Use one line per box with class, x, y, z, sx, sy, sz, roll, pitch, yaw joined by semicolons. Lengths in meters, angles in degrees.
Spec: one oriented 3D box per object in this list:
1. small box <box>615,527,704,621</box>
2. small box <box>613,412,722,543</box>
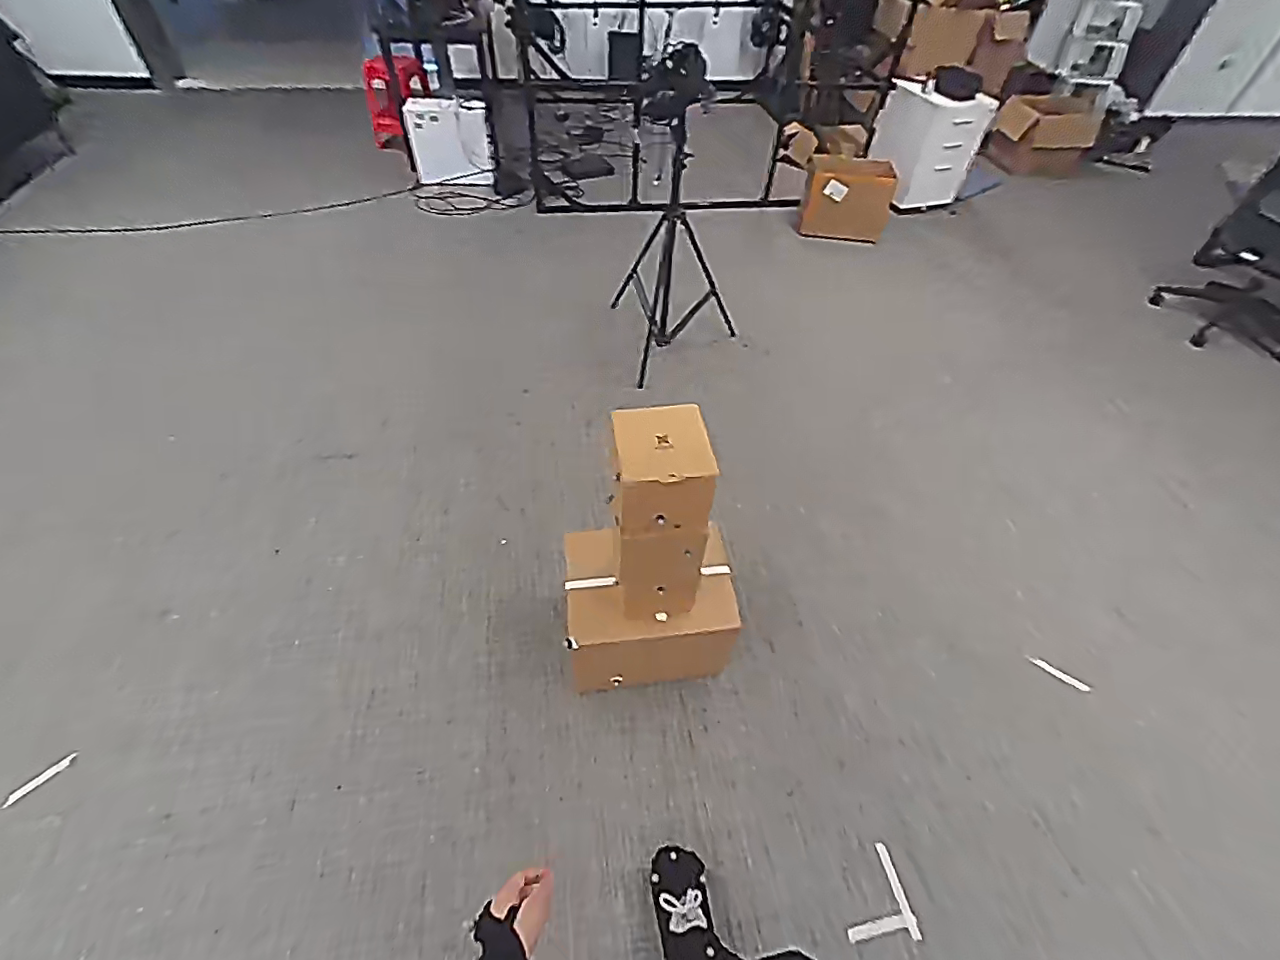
small box;0.037;0.213;1.256;0.179;0.176;0.168;-6;52;-9
small box;0.041;-0.004;1.011;0.168;0.176;0.179;-6;52;-8
